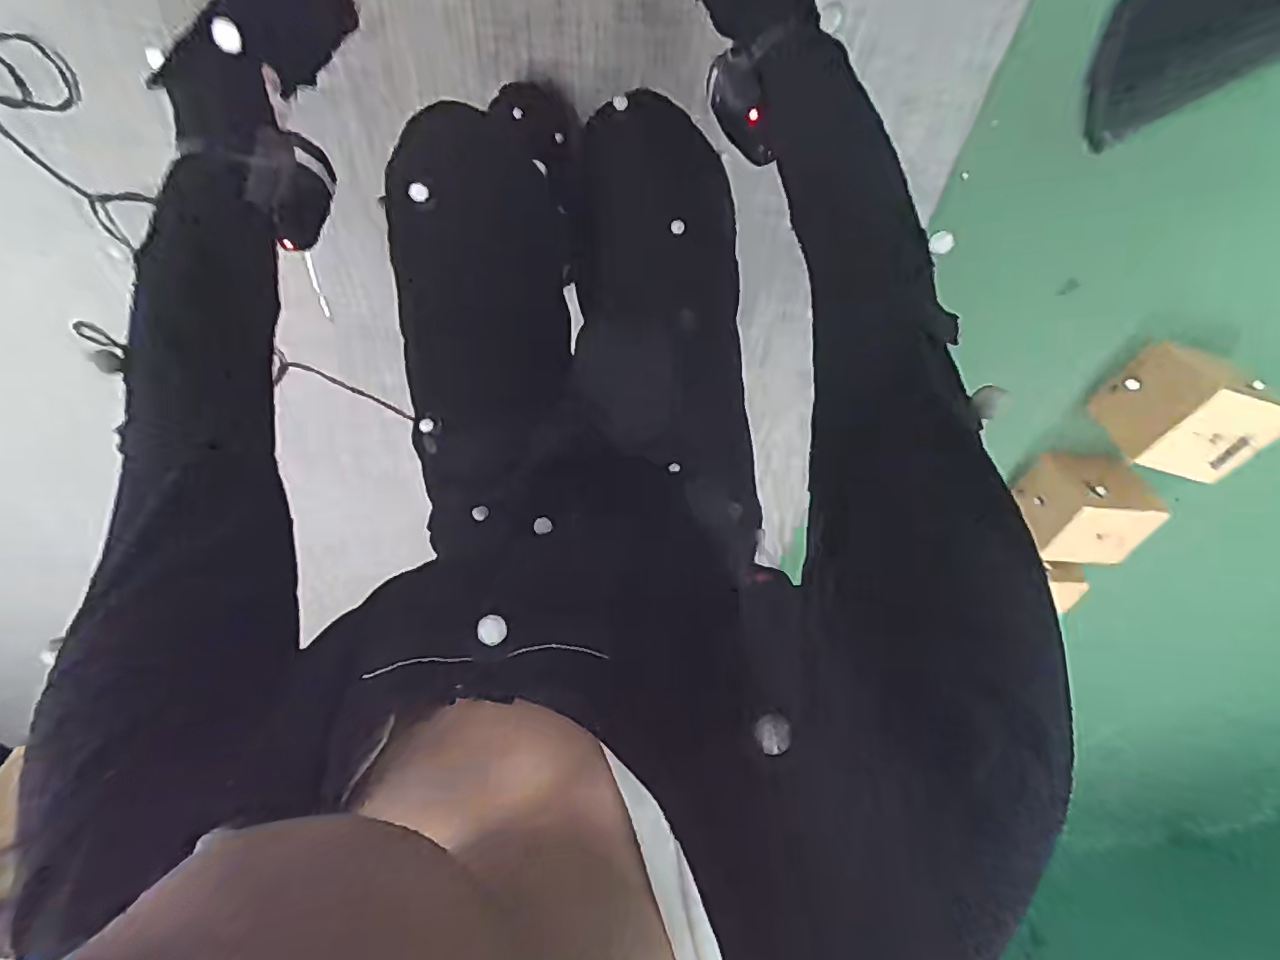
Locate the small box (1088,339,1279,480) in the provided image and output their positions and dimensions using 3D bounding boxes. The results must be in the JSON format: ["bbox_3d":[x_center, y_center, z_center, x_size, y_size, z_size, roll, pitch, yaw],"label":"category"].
[{"bbox_3d":[0.977,-0.129,0.967,0.179,0.176,0.168,13,133,-9],"label":"small box"}]

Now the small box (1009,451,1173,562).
[{"bbox_3d":[0.935,0.053,1.146,0.179,0.176,0.168,3,135,-2],"label":"small box"}]
